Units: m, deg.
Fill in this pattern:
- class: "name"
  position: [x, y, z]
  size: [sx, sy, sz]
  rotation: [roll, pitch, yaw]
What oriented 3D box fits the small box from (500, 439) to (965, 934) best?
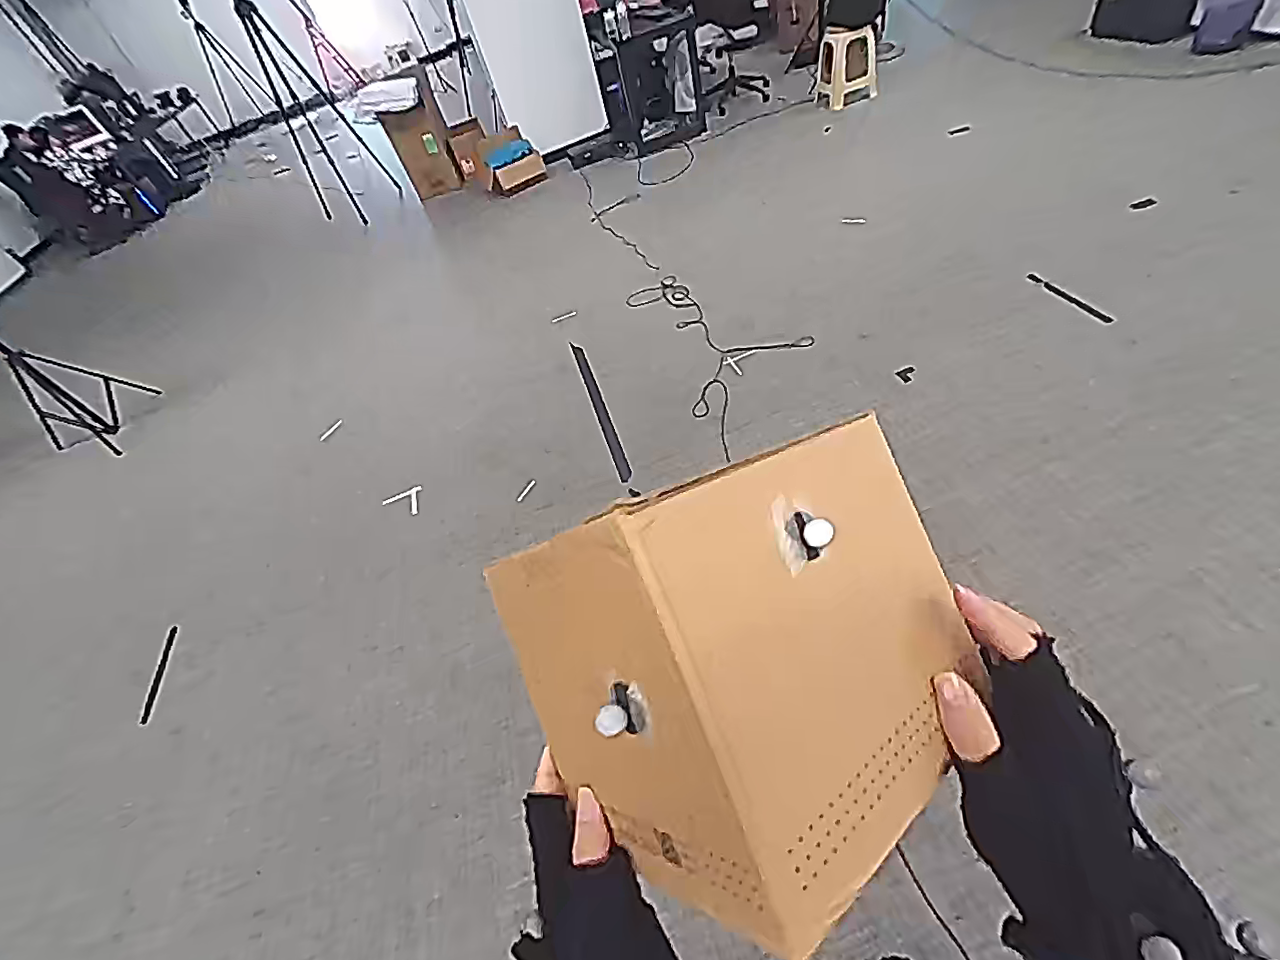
- class: "small box"
  position: [0.049, 0.098, 0.313]
  size: [0.179, 0.176, 0.168]
  rotation: [-19, -5, -35]
